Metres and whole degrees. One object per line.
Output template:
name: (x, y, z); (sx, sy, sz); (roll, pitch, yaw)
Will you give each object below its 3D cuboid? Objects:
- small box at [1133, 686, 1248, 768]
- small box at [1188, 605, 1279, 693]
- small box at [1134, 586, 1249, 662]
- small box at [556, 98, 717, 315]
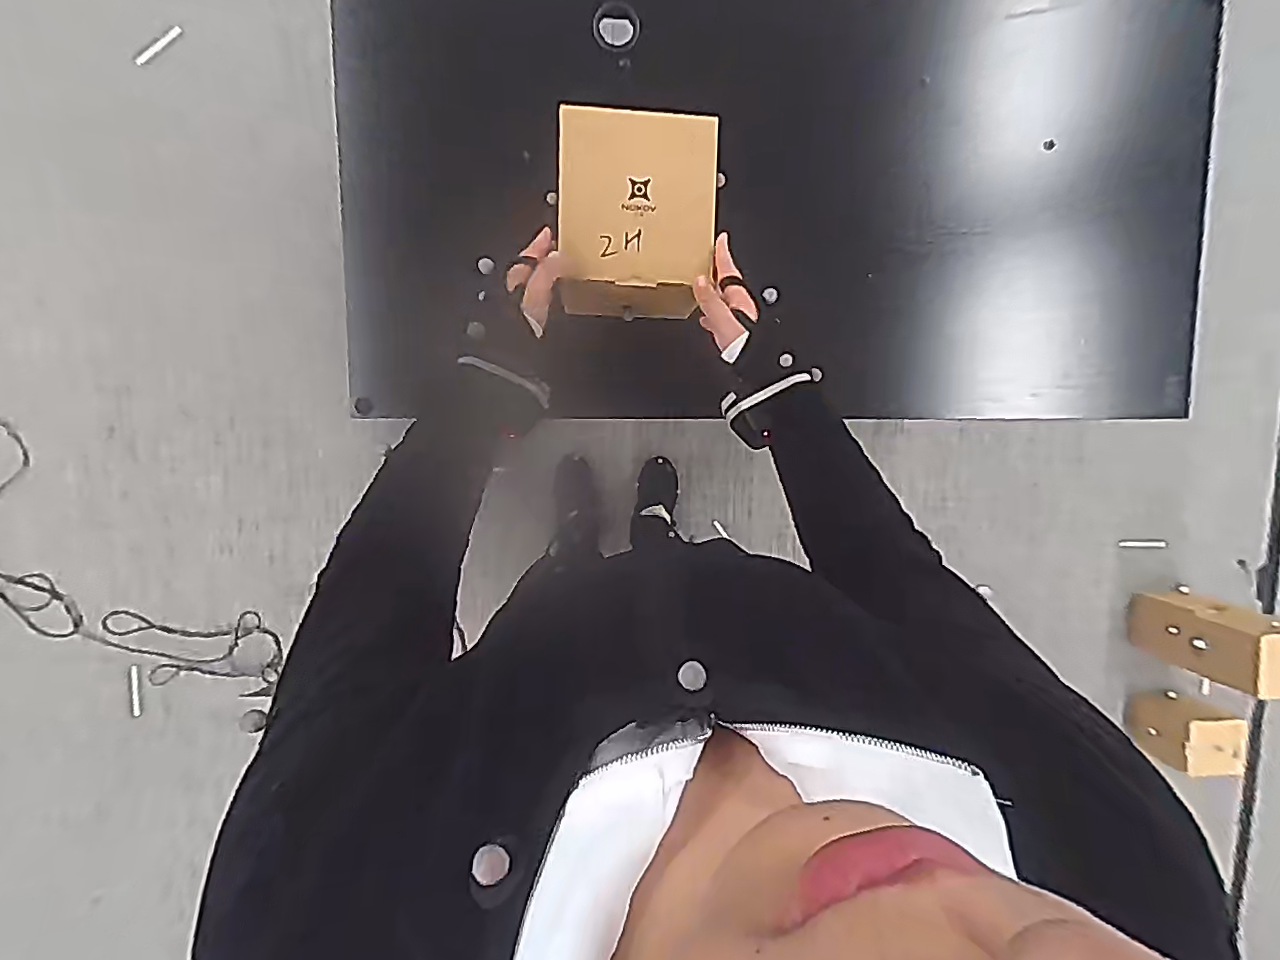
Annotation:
small box: (1.627, 0.730, 1.610); (0.179, 0.176, 0.168); (0, 95, -4)
small box: (1.602, 0.434, 1.411); (0.179, 0.176, 0.168); (-4, 95, -3)
small box: (1.593, 0.413, 1.572); (0.168, 0.176, 0.179); (-2, 97, -4)
small box: (-0.011, -0.307, 0.642); (0.168, 0.176, 0.179); (2, 95, -4)
